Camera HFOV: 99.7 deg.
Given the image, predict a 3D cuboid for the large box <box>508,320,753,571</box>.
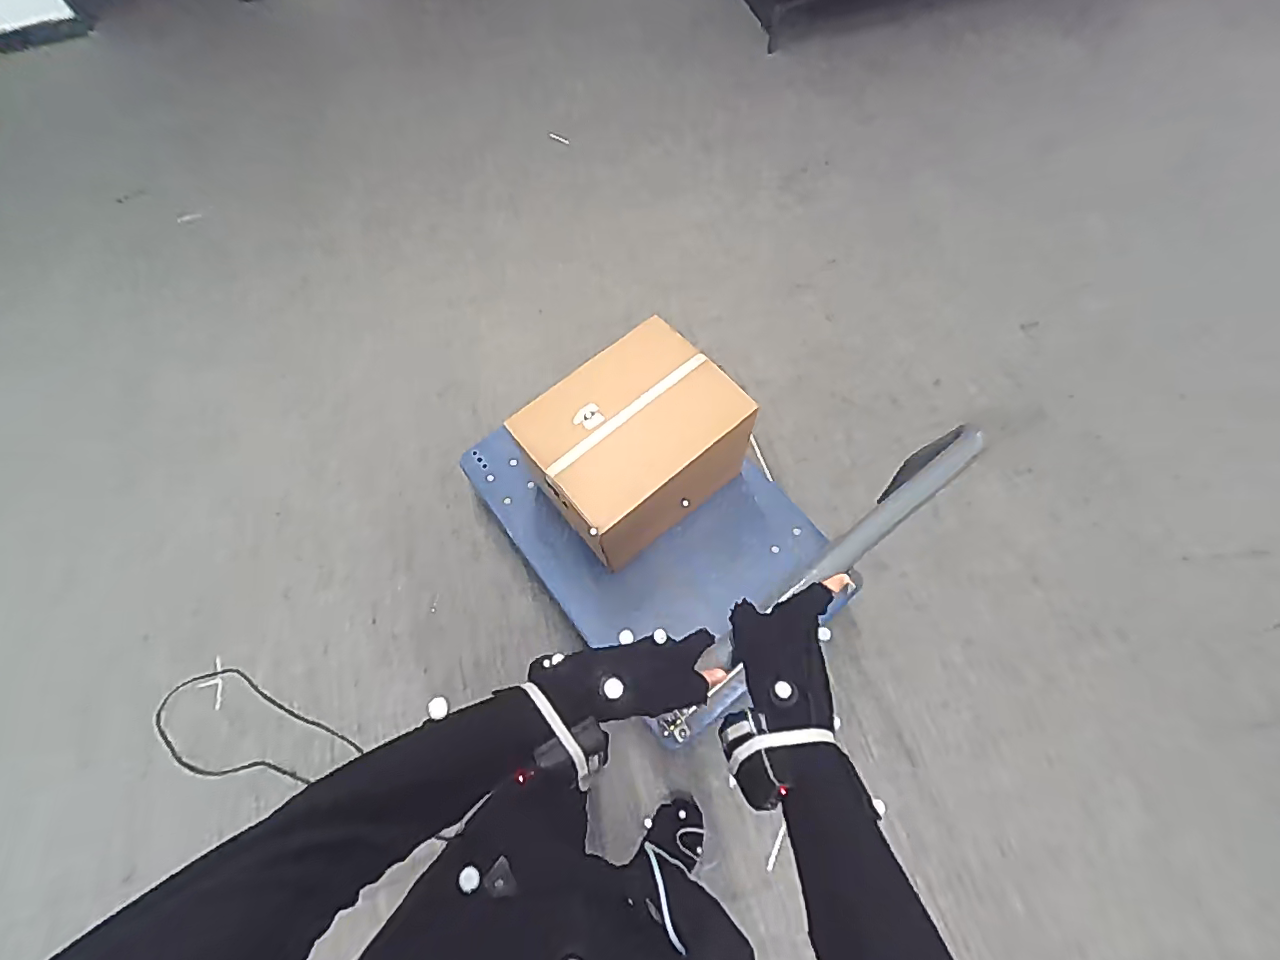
[{"bbox_3d":[-0.010,-0.064,1.206,0.408,0.320,0.320,-39,69,-12],"label":"large box"}]
